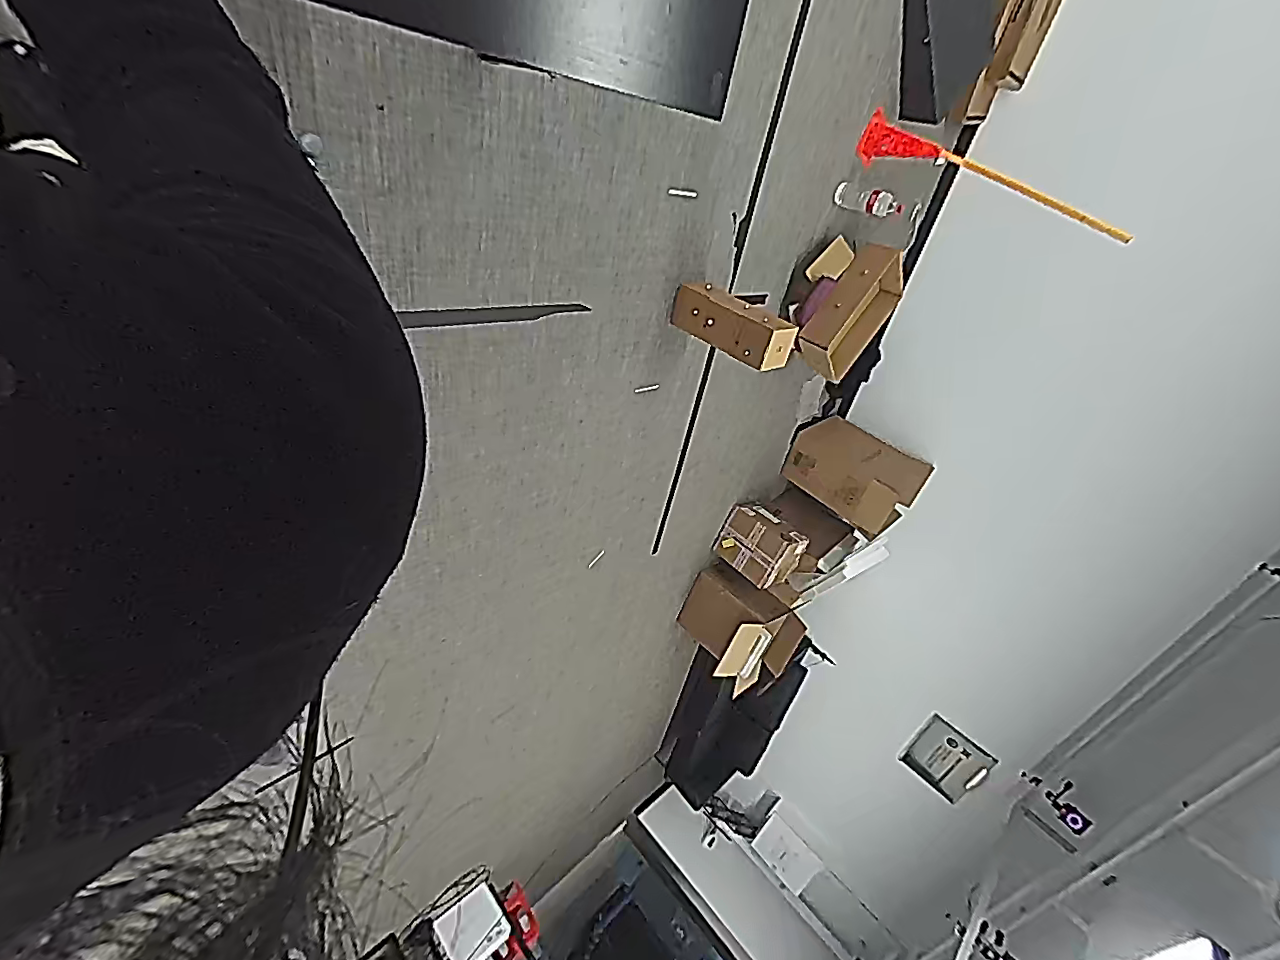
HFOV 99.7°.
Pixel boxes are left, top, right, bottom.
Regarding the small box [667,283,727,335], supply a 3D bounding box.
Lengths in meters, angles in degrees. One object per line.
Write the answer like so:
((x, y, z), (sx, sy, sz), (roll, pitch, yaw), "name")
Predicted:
((0.234, -0.724, 2.281), (0.168, 0.176, 0.179), (-20, 136, -41), "small box")

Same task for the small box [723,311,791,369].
((0.452, -0.551, 2.110), (0.179, 0.176, 0.168), (-22, 138, -41), "small box")

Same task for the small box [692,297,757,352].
((0.341, -0.636, 2.192), (0.179, 0.176, 0.168), (-20, 135, -41), "small box")
